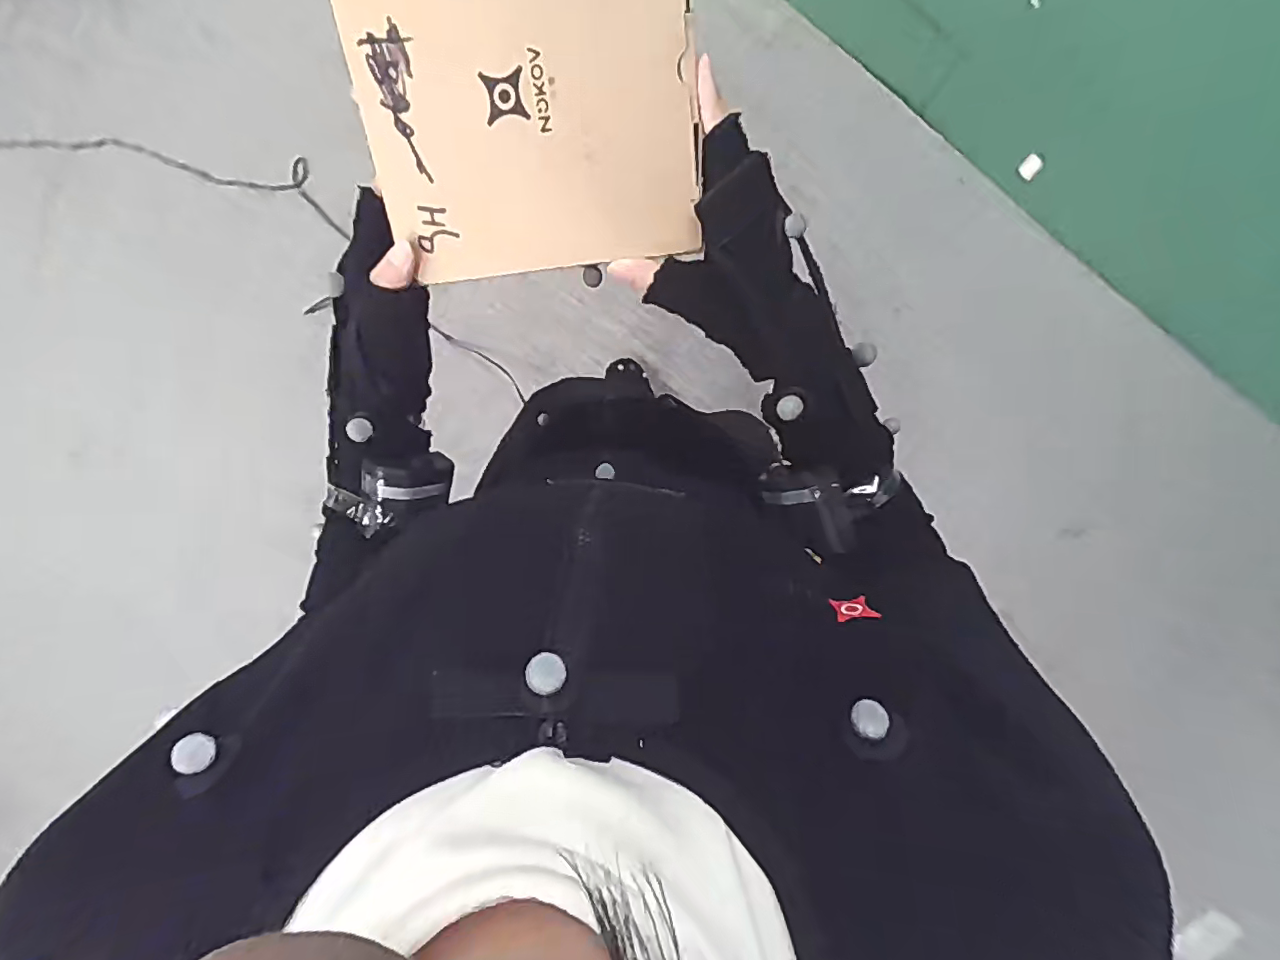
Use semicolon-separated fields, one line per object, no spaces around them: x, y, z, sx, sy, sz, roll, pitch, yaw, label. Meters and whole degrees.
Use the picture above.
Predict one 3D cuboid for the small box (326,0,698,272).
-0.059;-0.234;0.348;0.179;0.176;0.168;-5;112;7;small box
